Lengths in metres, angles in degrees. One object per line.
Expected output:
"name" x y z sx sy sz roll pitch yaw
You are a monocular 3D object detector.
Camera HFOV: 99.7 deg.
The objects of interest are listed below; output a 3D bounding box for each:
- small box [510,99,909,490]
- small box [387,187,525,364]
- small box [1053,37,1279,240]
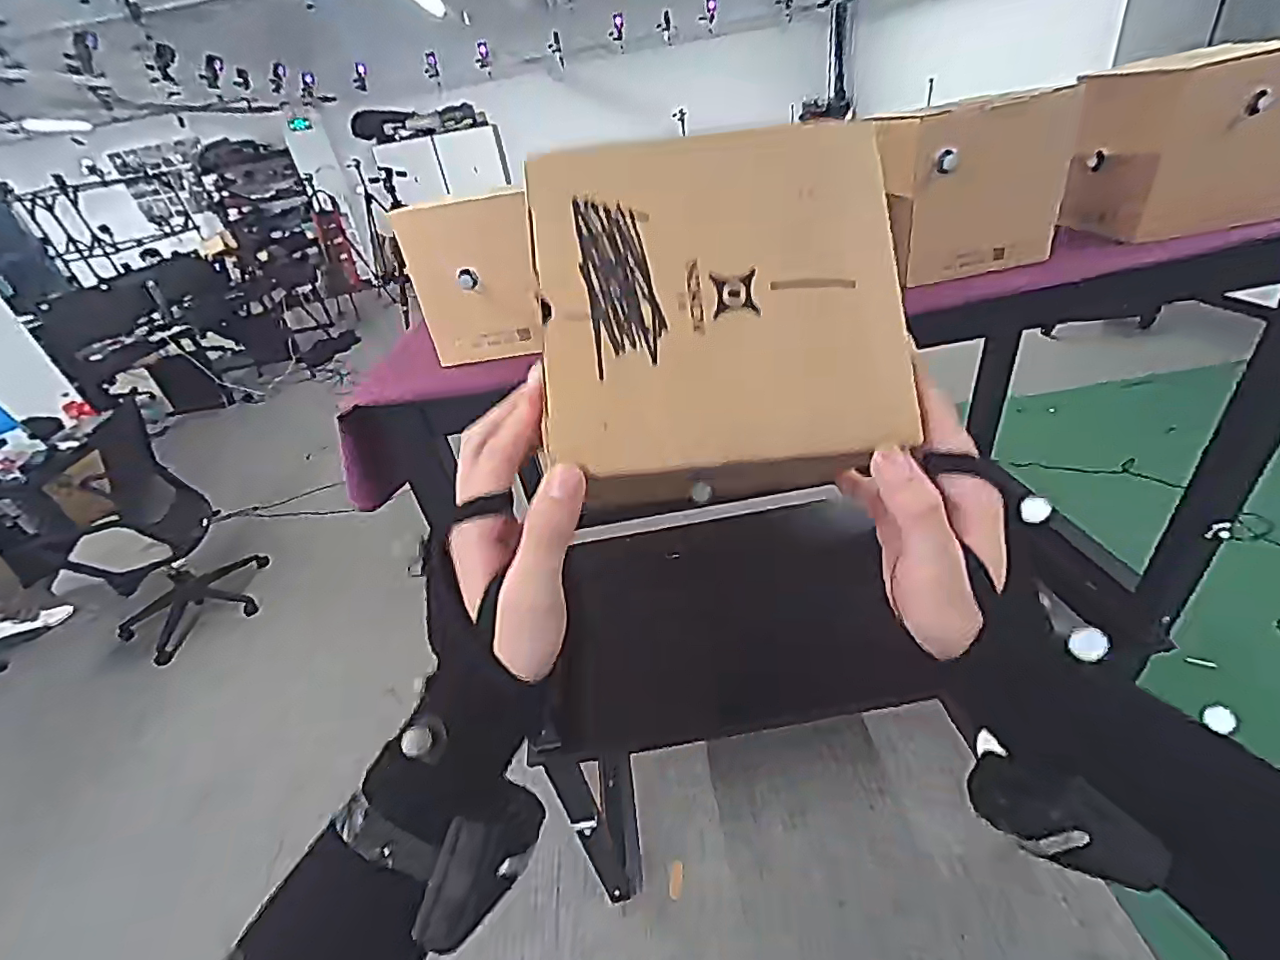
"small box" 0.031 -0.087 0.334 0.179 0.168 0.176 -6 -6 0
"small box" -0.163 -0.246 0.646 0.168 0.176 0.179 -8 32 4
"small box" 0.625 -0.392 0.629 0.179 0.176 0.168 -9 34 5
